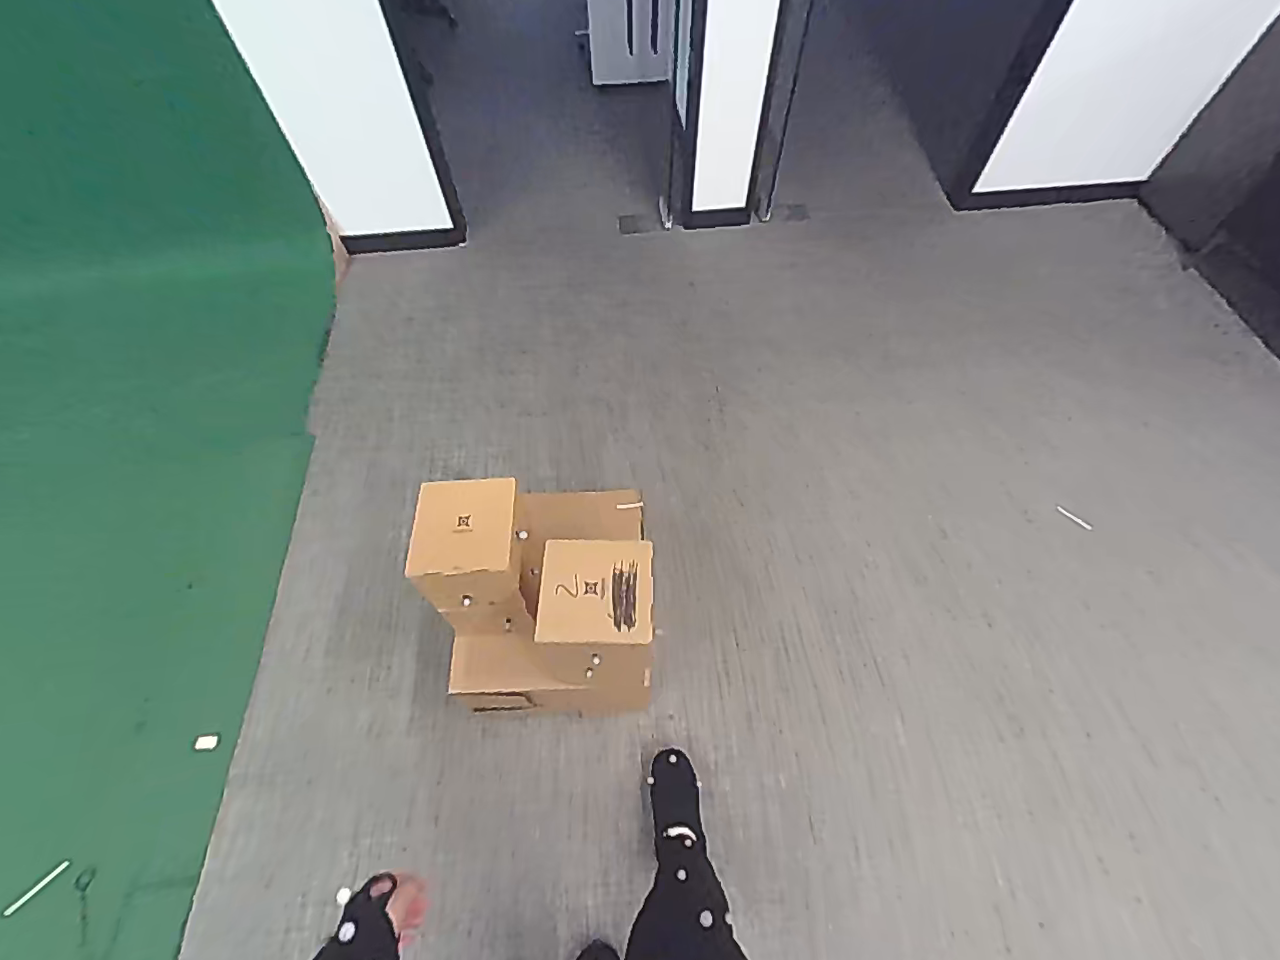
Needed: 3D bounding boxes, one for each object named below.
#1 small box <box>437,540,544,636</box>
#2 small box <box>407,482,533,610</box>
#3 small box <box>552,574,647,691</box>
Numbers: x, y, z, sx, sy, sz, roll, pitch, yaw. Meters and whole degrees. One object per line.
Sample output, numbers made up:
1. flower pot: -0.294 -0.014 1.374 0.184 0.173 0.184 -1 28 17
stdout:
1. small box: -0.293 0.212 1.101 0.168 0.176 0.179 -2 56 0
2. small box: -0.290 0.120 0.965 0.168 0.176 0.179 -2 59 0
3. small box: -0.070 0.295 1.042 0.168 0.176 0.179 0 56 0
